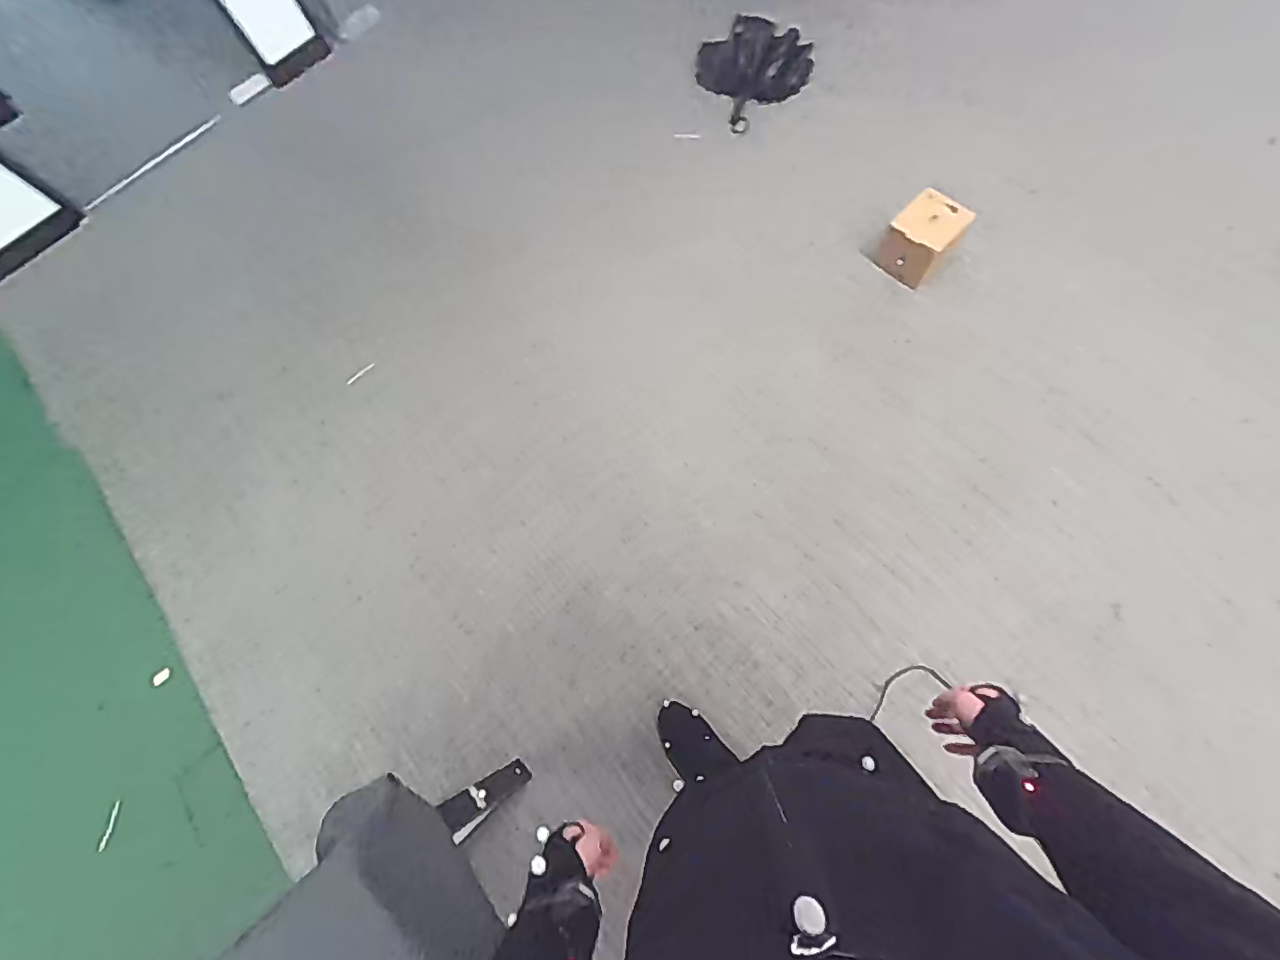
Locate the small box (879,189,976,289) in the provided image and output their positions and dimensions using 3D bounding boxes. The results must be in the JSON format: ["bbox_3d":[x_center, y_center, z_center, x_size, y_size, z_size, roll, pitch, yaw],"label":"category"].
[{"bbox_3d":[0.841,-0.709,1.606,0.179,0.176,0.168,-43,72,-7],"label":"small box"}]
